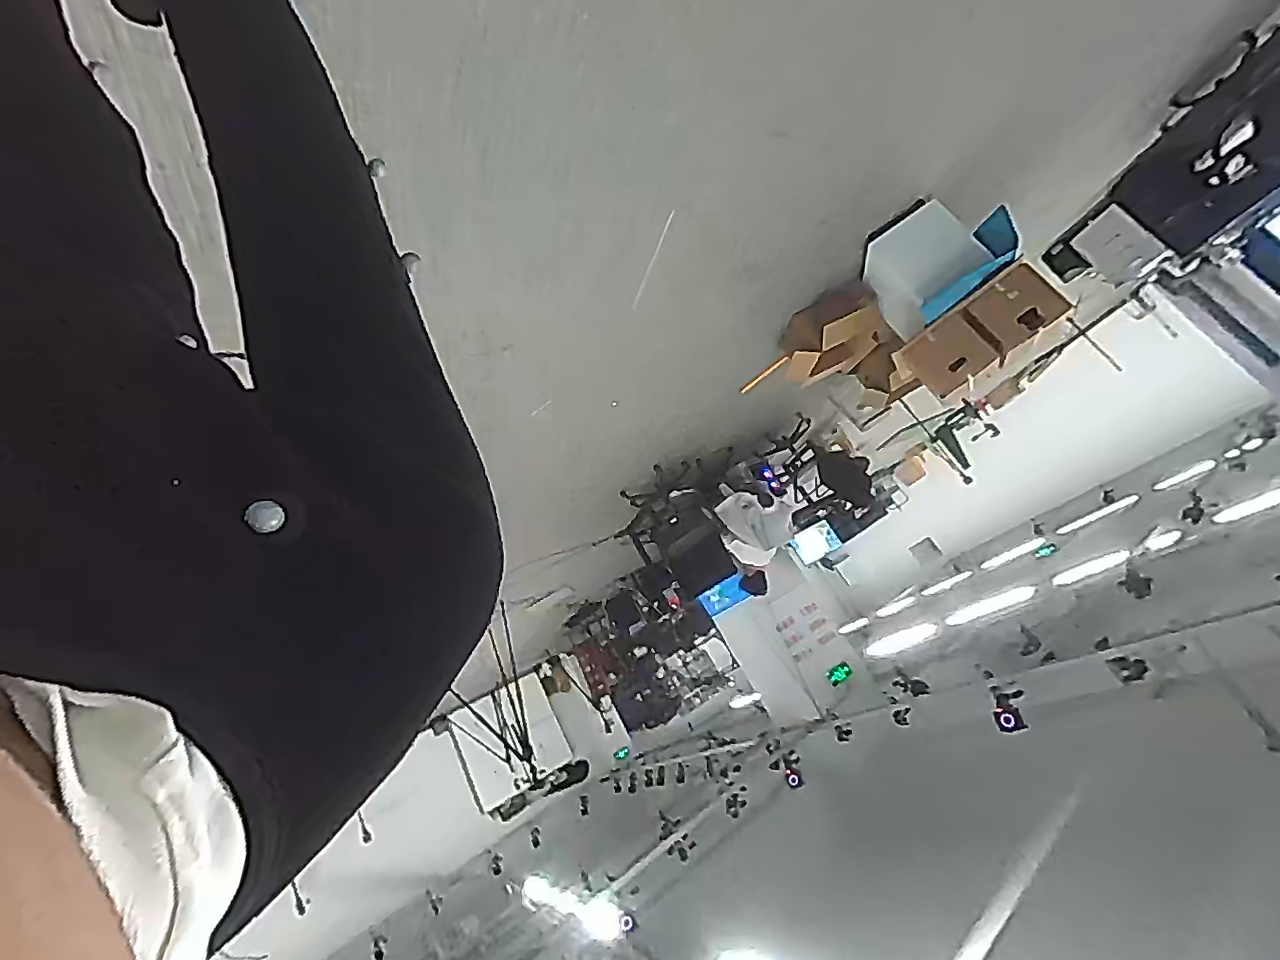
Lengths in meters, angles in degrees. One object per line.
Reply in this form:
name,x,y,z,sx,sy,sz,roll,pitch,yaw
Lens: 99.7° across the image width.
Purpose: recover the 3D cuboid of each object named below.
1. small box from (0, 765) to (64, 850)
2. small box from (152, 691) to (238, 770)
small box,-1.778,0.928,1.518,0.168,0.176,0.179,-20,162,-36
small box,-1.439,0.809,1.753,0.168,0.176,0.179,-20,160,-34
